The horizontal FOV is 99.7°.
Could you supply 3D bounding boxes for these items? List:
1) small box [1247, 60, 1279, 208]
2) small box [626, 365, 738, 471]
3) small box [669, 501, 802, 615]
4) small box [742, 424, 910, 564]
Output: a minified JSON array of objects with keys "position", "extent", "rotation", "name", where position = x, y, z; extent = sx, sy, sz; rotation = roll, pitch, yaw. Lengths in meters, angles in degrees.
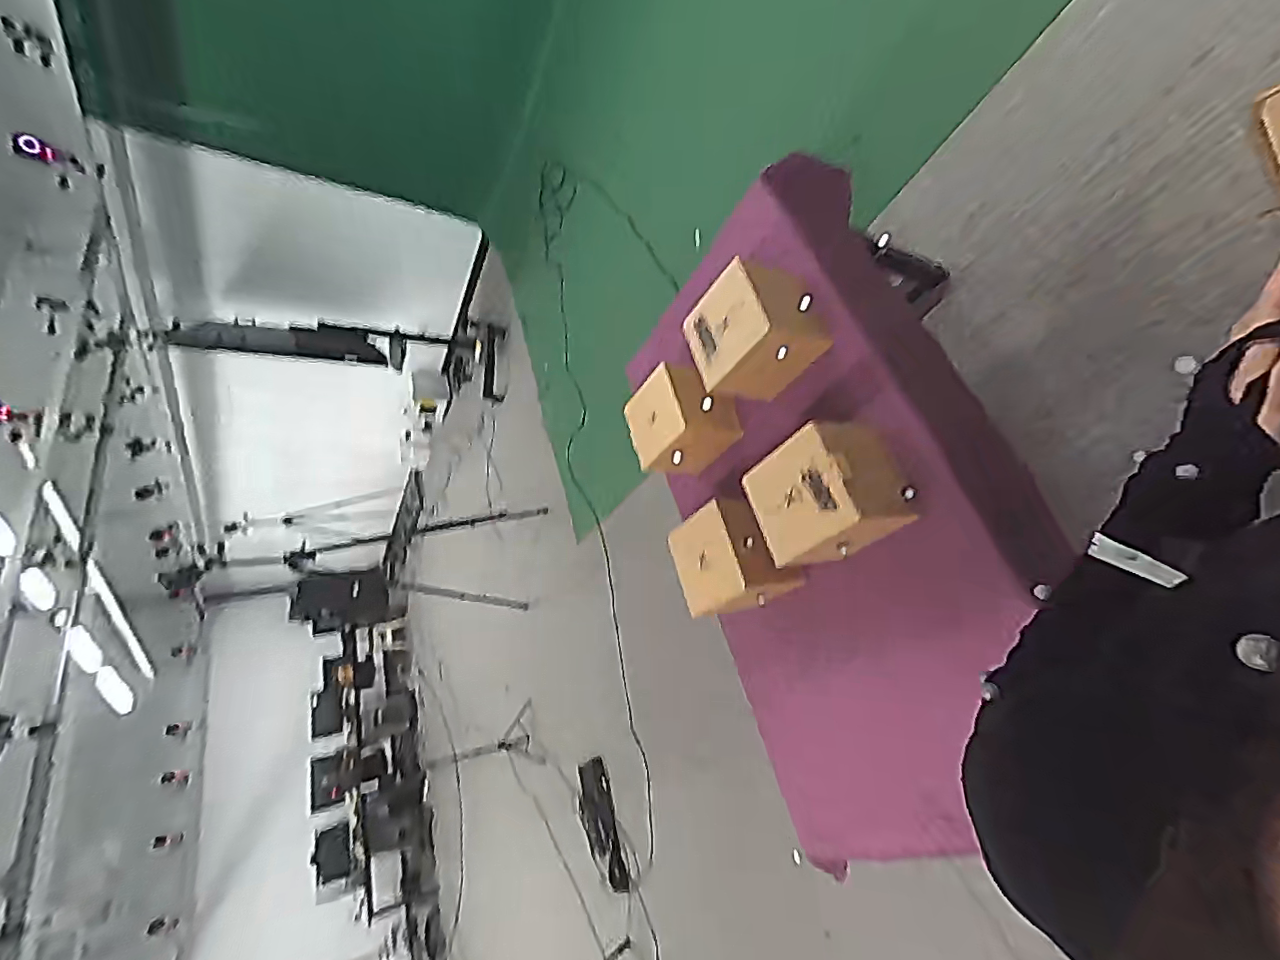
[{"position":[0.450,-0.178,0.269],"extent":[0.168,0.176,0.179],"rotation":[-21,99,51],"name":"small box"},{"position":[0.098,-0.133,1.207],"extent":[0.179,0.176,0.168],"rotation":[-45,54,48],"name":"small box"},{"position":[0.188,0.149,1.067],"extent":[0.168,0.176,0.179],"rotation":[-44,54,46],"name":"small box"},{"position":[0.307,0.024,0.887],"extent":[0.179,0.176,0.168],"rotation":[-47,52,47],"name":"small box"}]
